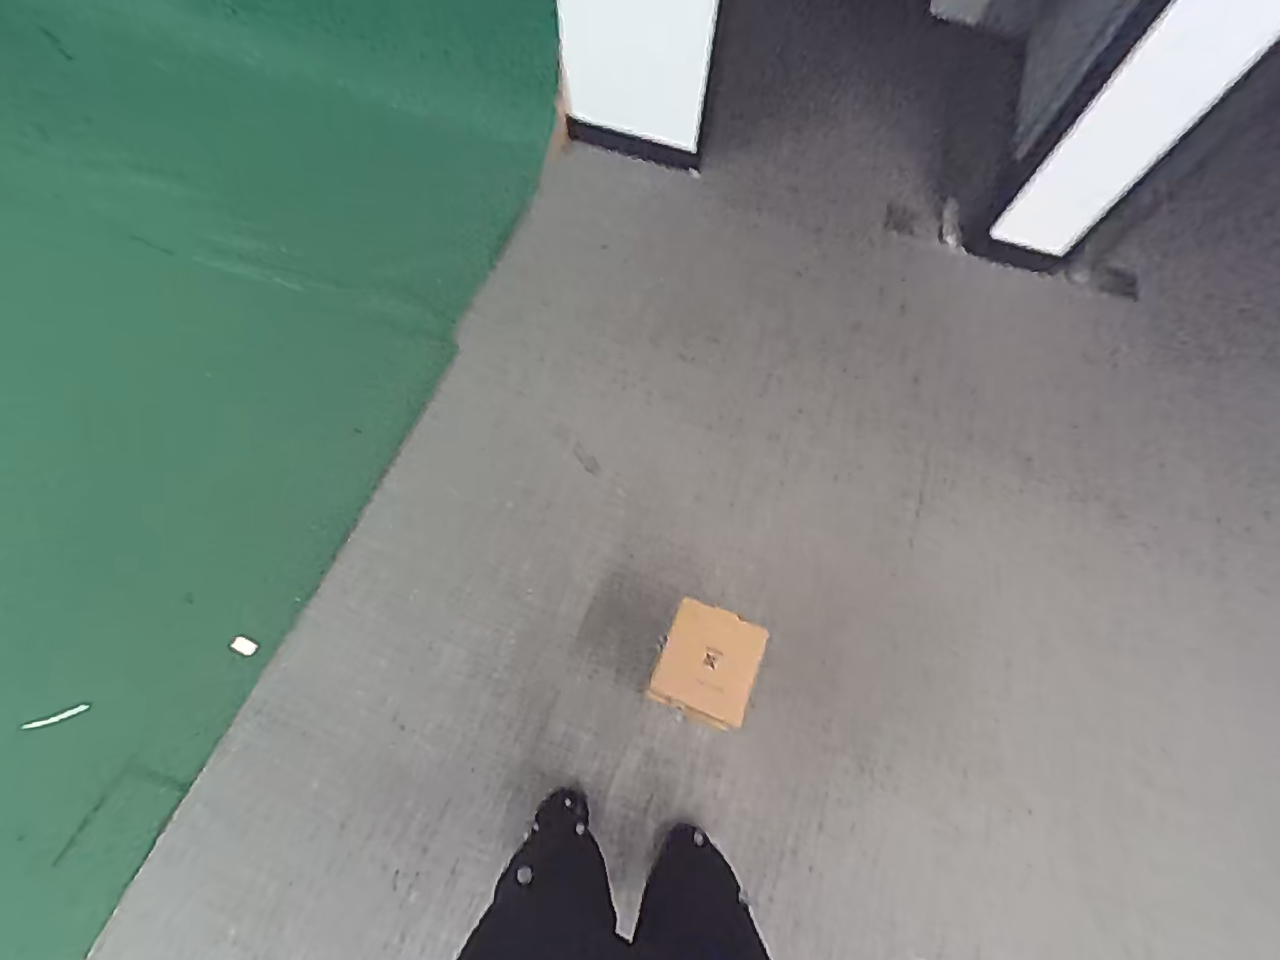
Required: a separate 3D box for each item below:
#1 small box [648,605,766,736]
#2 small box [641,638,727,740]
[{"bbox_3d":[0.118,0.360,1.021,0.168,0.176,0.179,20,68,8],"label":"small box"},{"bbox_3d":[0.113,0.437,1.165,0.179,0.176,0.168,22,67,6],"label":"small box"}]
